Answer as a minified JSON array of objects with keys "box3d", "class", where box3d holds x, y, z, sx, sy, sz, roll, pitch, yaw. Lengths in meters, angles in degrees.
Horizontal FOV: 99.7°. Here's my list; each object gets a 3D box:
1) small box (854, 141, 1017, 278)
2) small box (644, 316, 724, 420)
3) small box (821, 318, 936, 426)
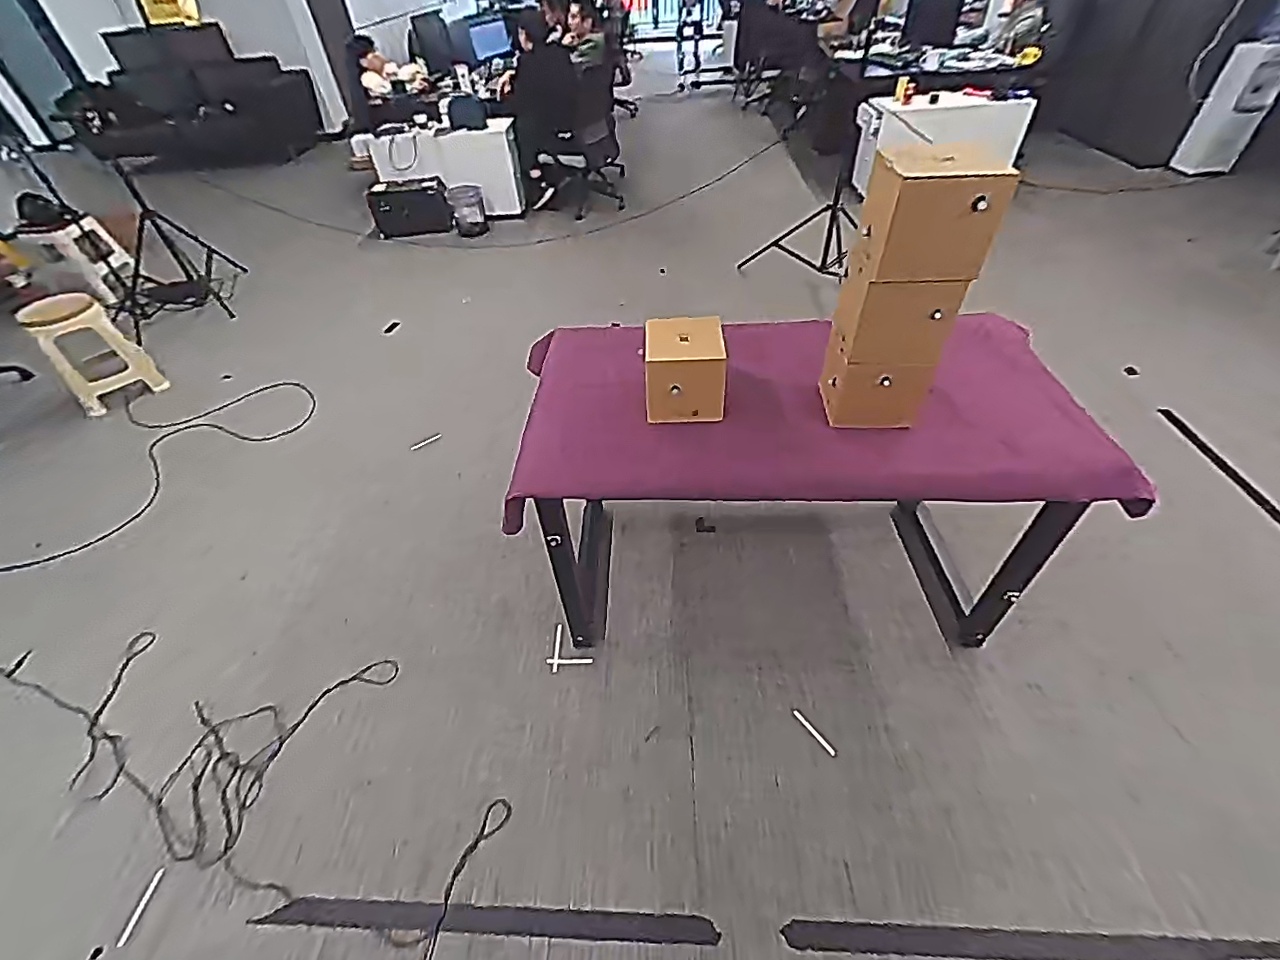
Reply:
[{"box3d":[0.488,-0.461,0.926,0.179,0.176,0.168,-1,45,5],"class":"small box"},{"box3d":[0.097,-0.246,1.211,0.168,0.176,0.179,-2,44,3],"class":"small box"},{"box3d":[0.497,-0.230,1.162,0.179,0.176,0.168,1,46,4],"class":"small box"}]
